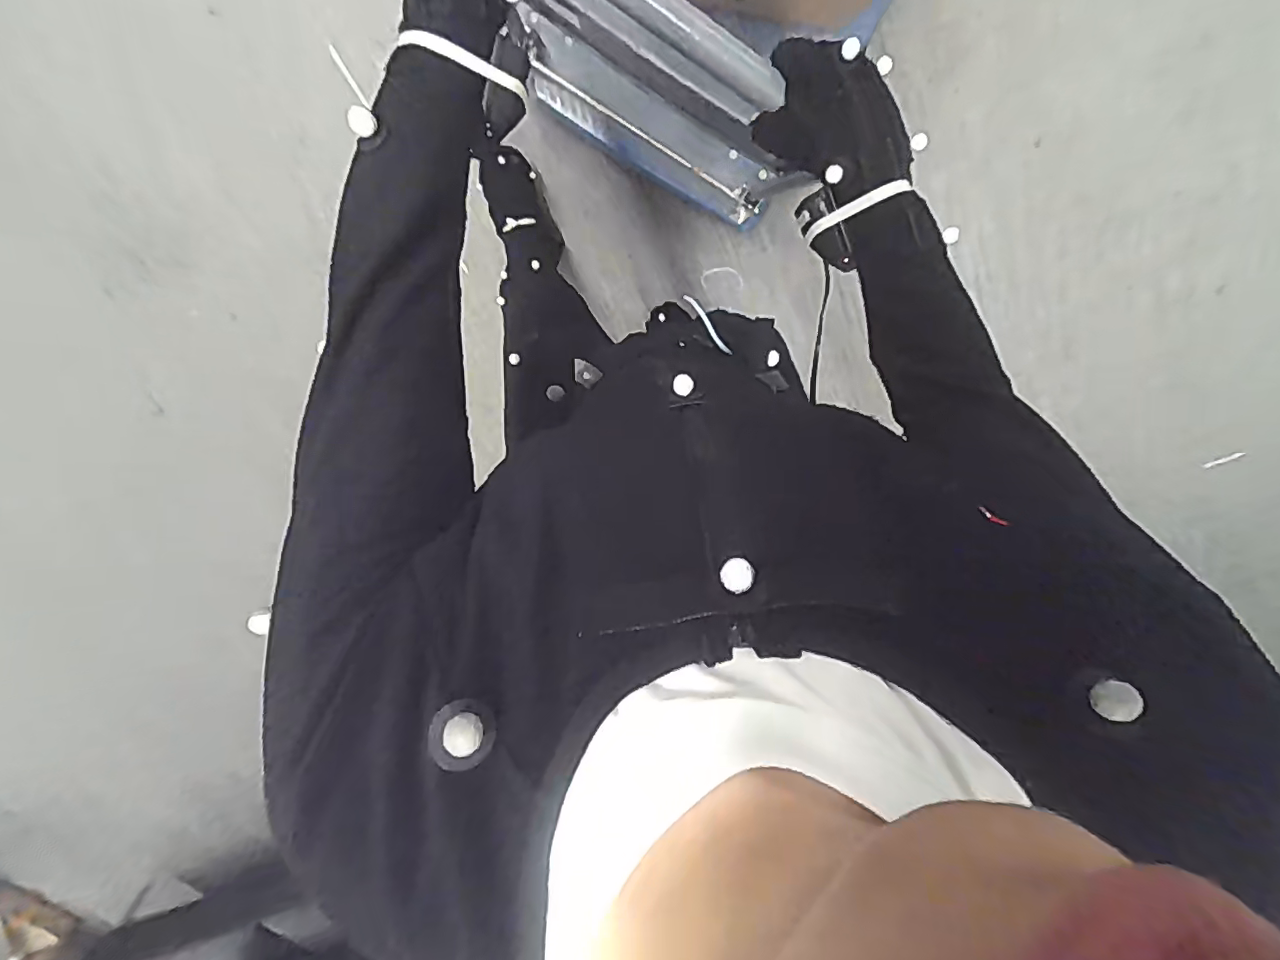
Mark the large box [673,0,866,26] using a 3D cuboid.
[{"bbox_3d":[0.174,-0.891,0.750,0.408,0.320,0.320,8,116,-3],"label":"large box"}]
